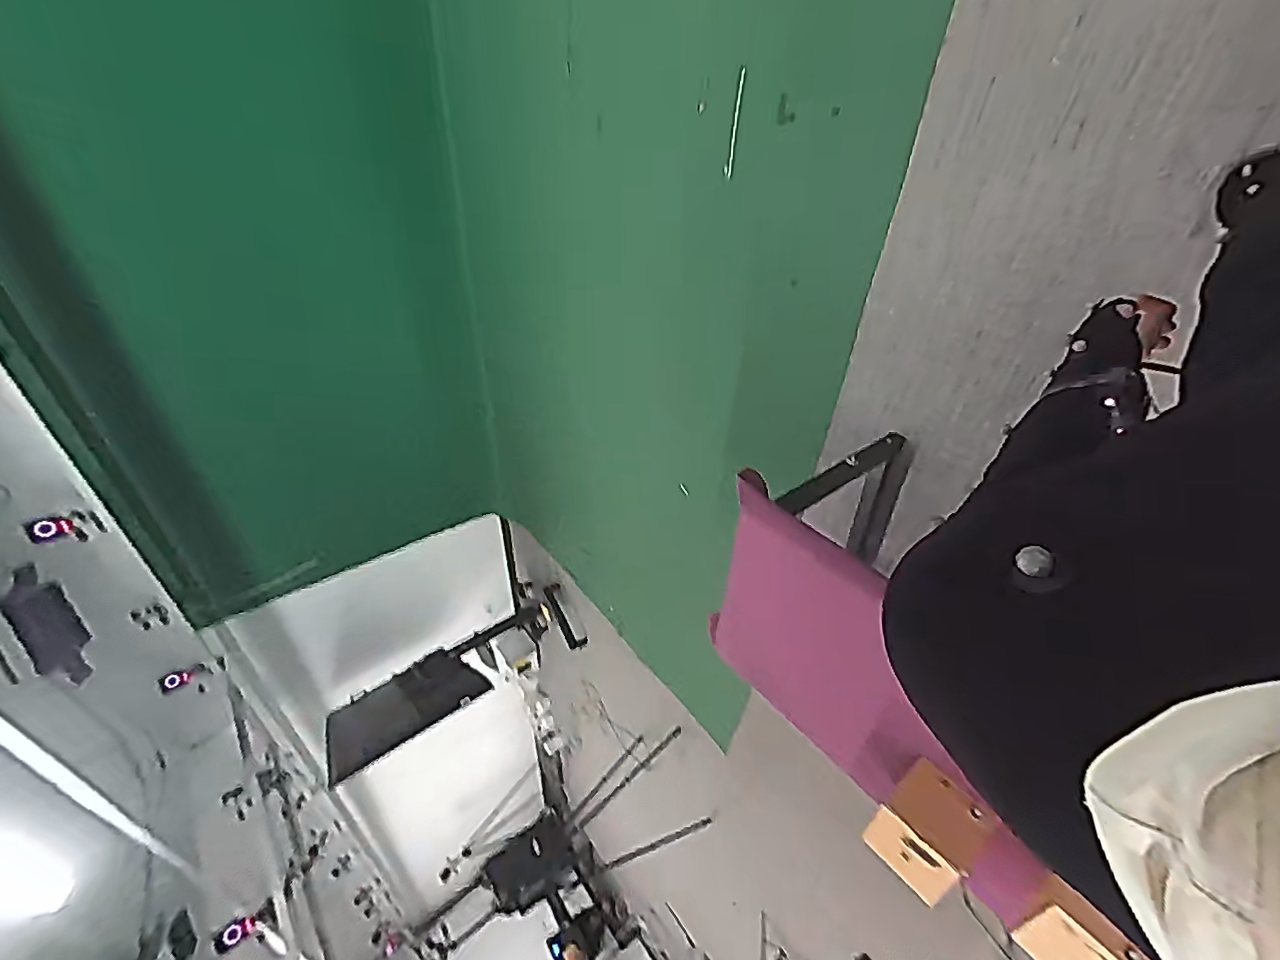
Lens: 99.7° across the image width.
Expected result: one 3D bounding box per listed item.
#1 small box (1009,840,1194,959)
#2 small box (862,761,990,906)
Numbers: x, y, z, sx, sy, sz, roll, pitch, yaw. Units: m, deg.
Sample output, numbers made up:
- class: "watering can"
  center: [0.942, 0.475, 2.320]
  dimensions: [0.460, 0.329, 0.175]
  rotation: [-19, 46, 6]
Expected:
- class: "small box"
  center: [0.785, 0.772, 0.924]
  dimensions: [0.168, 0.176, 0.179]
  rotation: [37, 138, 37]
- class: "small box"
  center: [0.617, 0.753, 1.167]
  dimensions: [0.168, 0.176, 0.179]
  rotation: [37, 138, 39]
